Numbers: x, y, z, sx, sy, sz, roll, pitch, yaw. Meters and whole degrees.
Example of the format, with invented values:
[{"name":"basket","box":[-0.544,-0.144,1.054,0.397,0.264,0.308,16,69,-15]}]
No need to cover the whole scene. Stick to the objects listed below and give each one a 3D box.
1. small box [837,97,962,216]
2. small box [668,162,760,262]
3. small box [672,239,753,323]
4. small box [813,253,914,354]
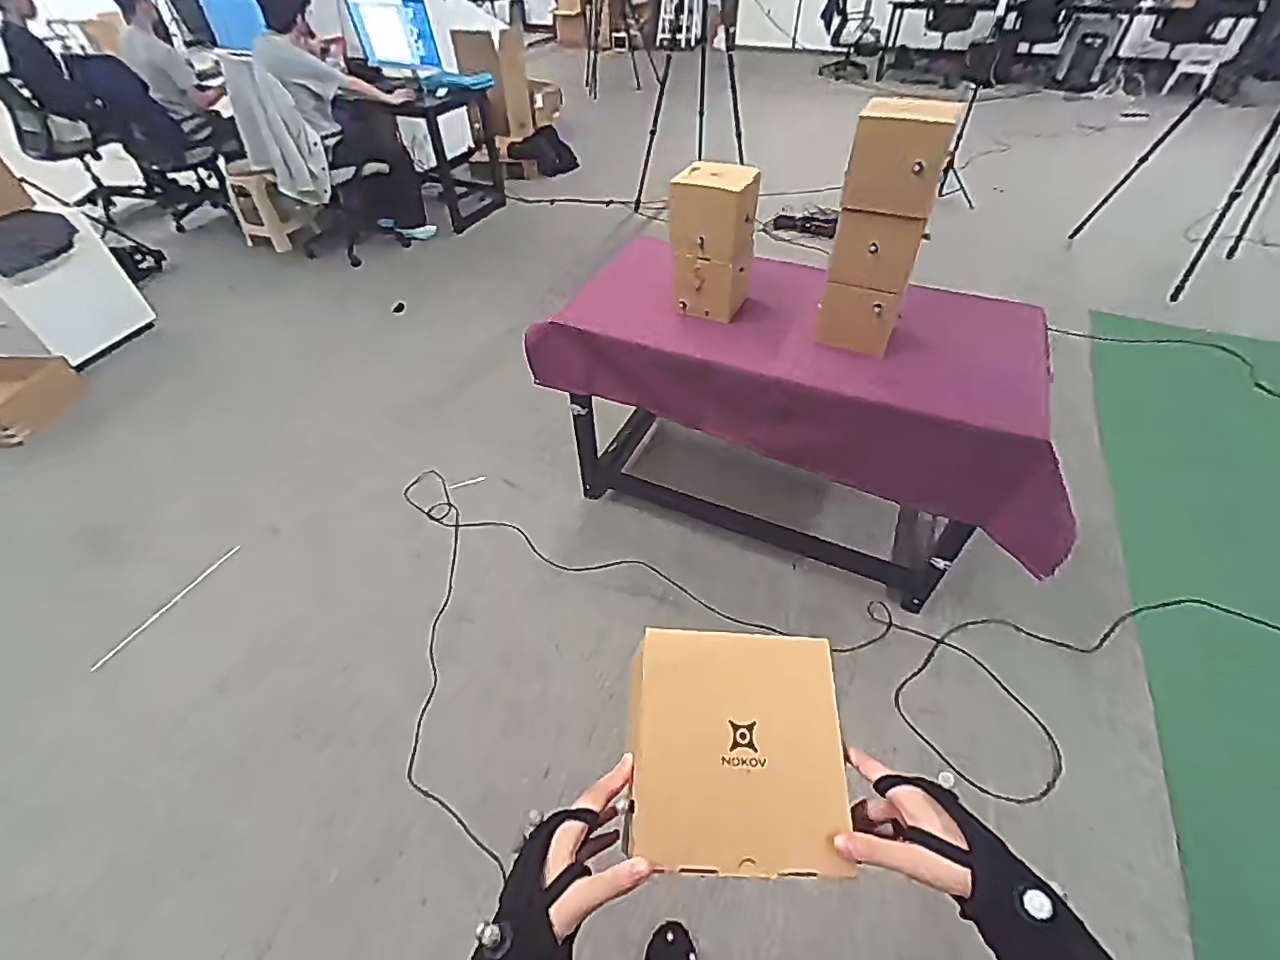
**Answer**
[{"name":"small box","box":[0.524,-0.657,1.102,0.179,0.176,0.168,19,49,19]},{"name":"small box","box":[0.181,-0.666,1.351,0.179,0.176,0.168,20,50,18]},{"name":"small box","box":[0.196,-0.550,1.467,0.168,0.176,0.179,19,49,18]},{"name":"small box","box":[0.550,-0.434,1.342,0.179,0.176,0.168,19,49,19]}]
